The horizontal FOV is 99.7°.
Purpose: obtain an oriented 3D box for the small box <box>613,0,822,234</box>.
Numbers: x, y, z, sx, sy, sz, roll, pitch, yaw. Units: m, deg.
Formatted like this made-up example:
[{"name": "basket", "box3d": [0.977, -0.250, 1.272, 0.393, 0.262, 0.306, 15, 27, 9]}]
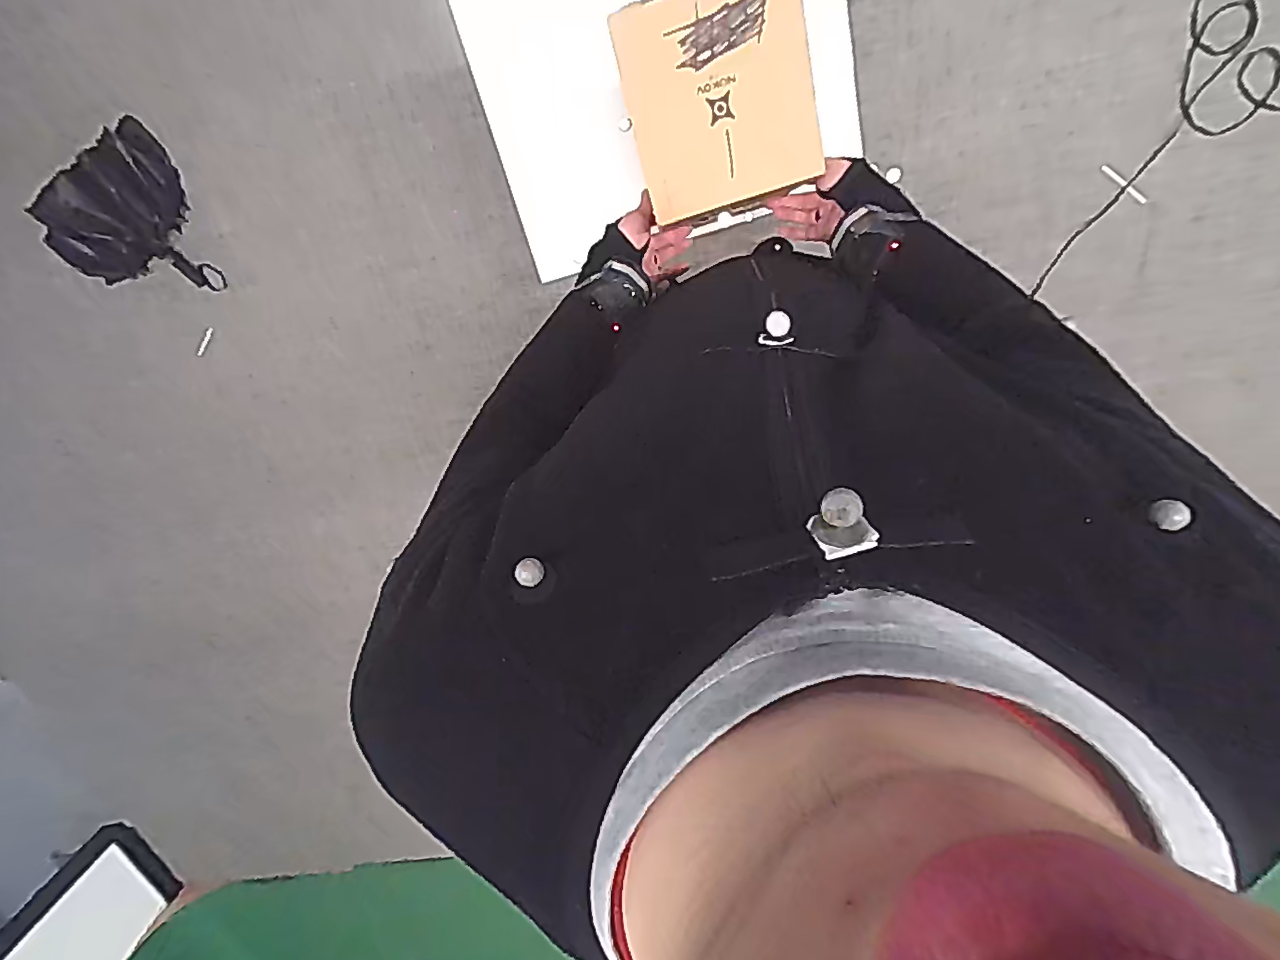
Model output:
[{"name": "small box", "box3d": [0.077, -0.372, 0.566, 0.168, 0.176, 0.179, -13, 112, 9]}]
